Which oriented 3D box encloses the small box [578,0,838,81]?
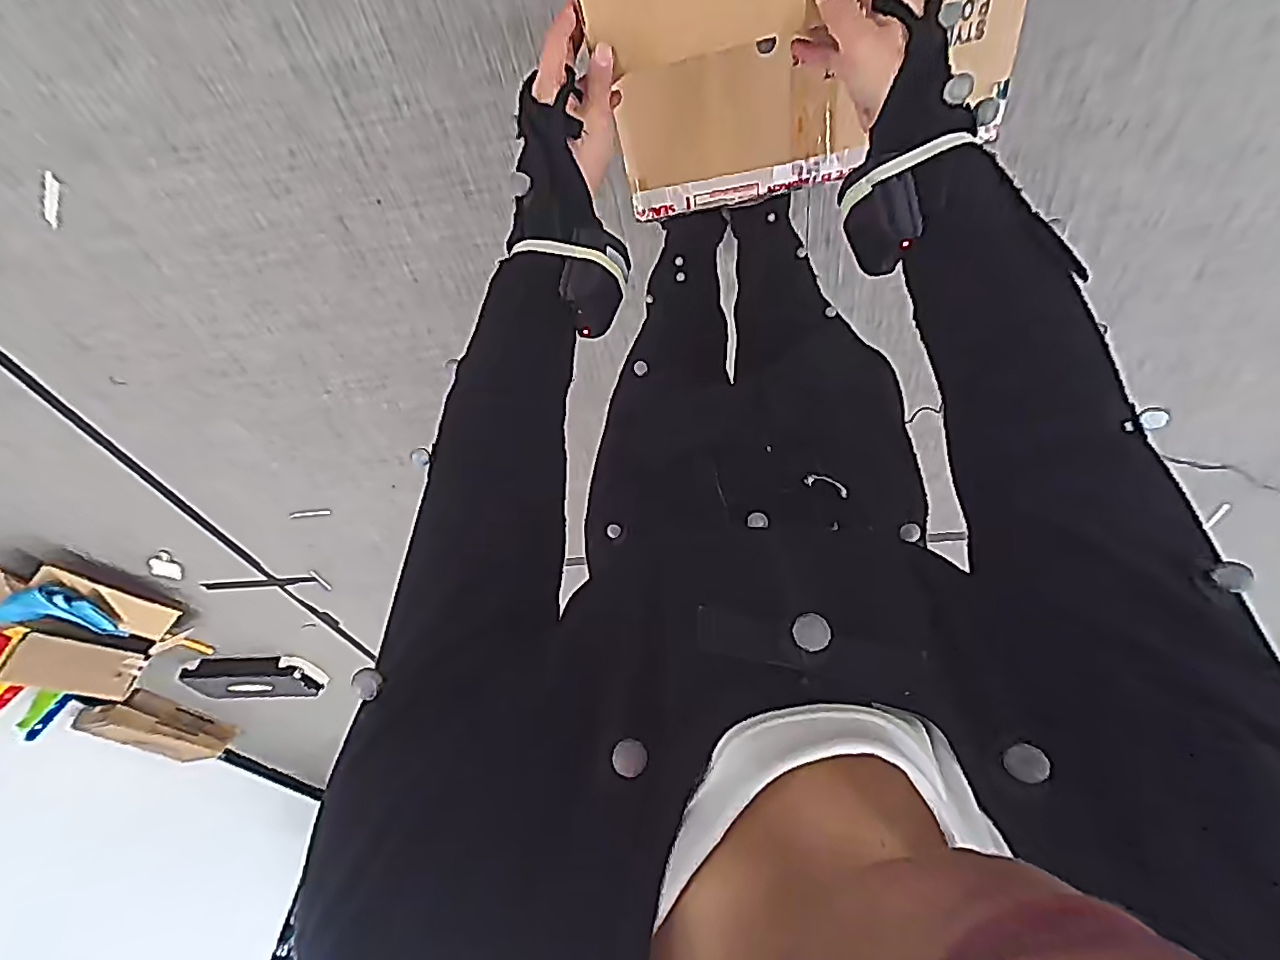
[{"bbox_3d":[0.038,-0.418,0.379,0.179,0.176,0.168,-6,139,10],"label":"small box"}]
